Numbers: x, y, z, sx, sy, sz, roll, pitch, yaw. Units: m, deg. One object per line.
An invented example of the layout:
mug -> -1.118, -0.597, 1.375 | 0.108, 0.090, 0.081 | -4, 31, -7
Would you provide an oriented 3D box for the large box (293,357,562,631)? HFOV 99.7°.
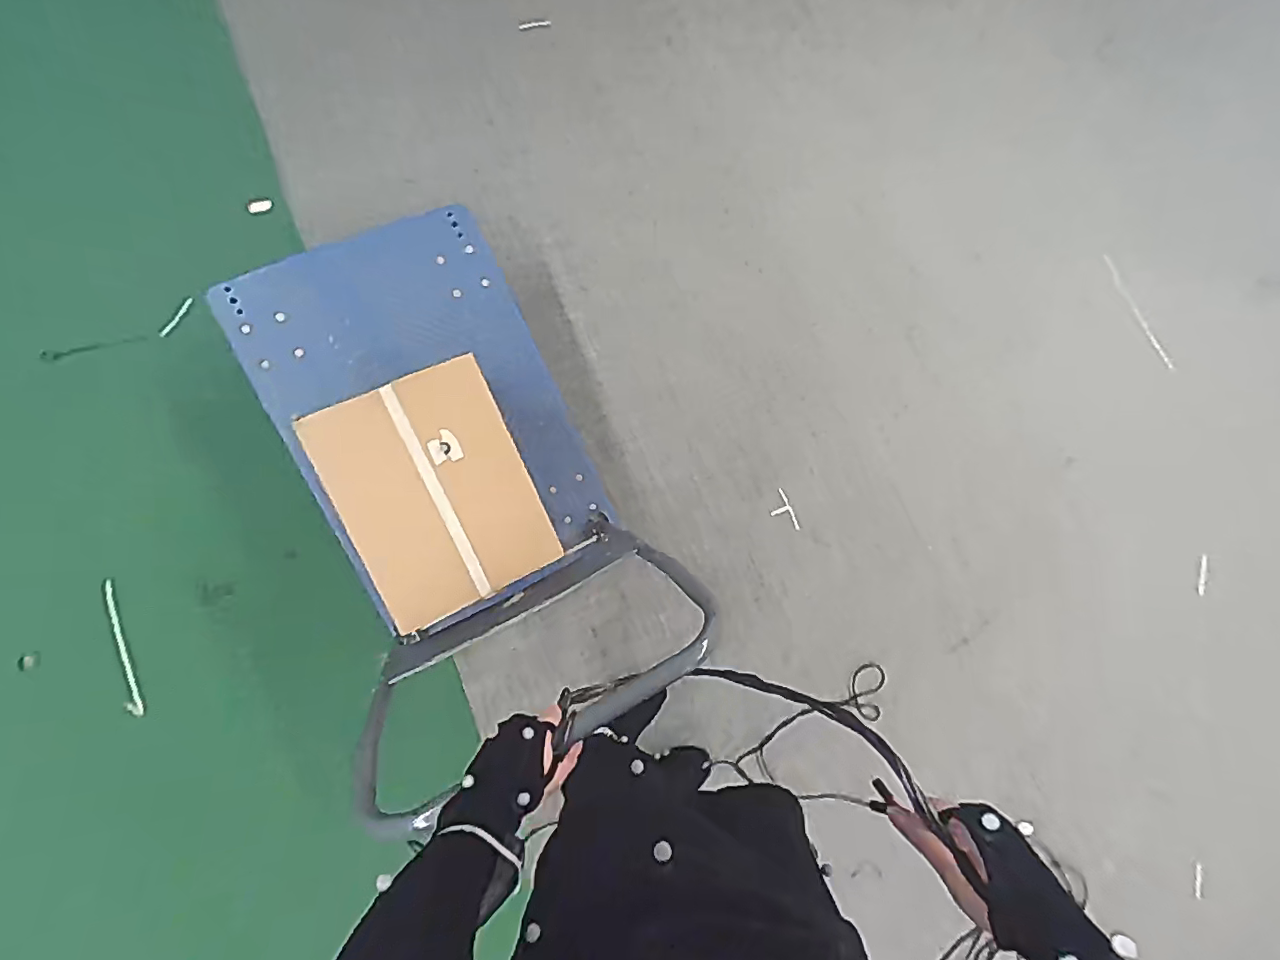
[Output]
large box -> -0.392, 0.021, 1.085 | 0.320, 0.320, 0.408 | -25, 97, -14
